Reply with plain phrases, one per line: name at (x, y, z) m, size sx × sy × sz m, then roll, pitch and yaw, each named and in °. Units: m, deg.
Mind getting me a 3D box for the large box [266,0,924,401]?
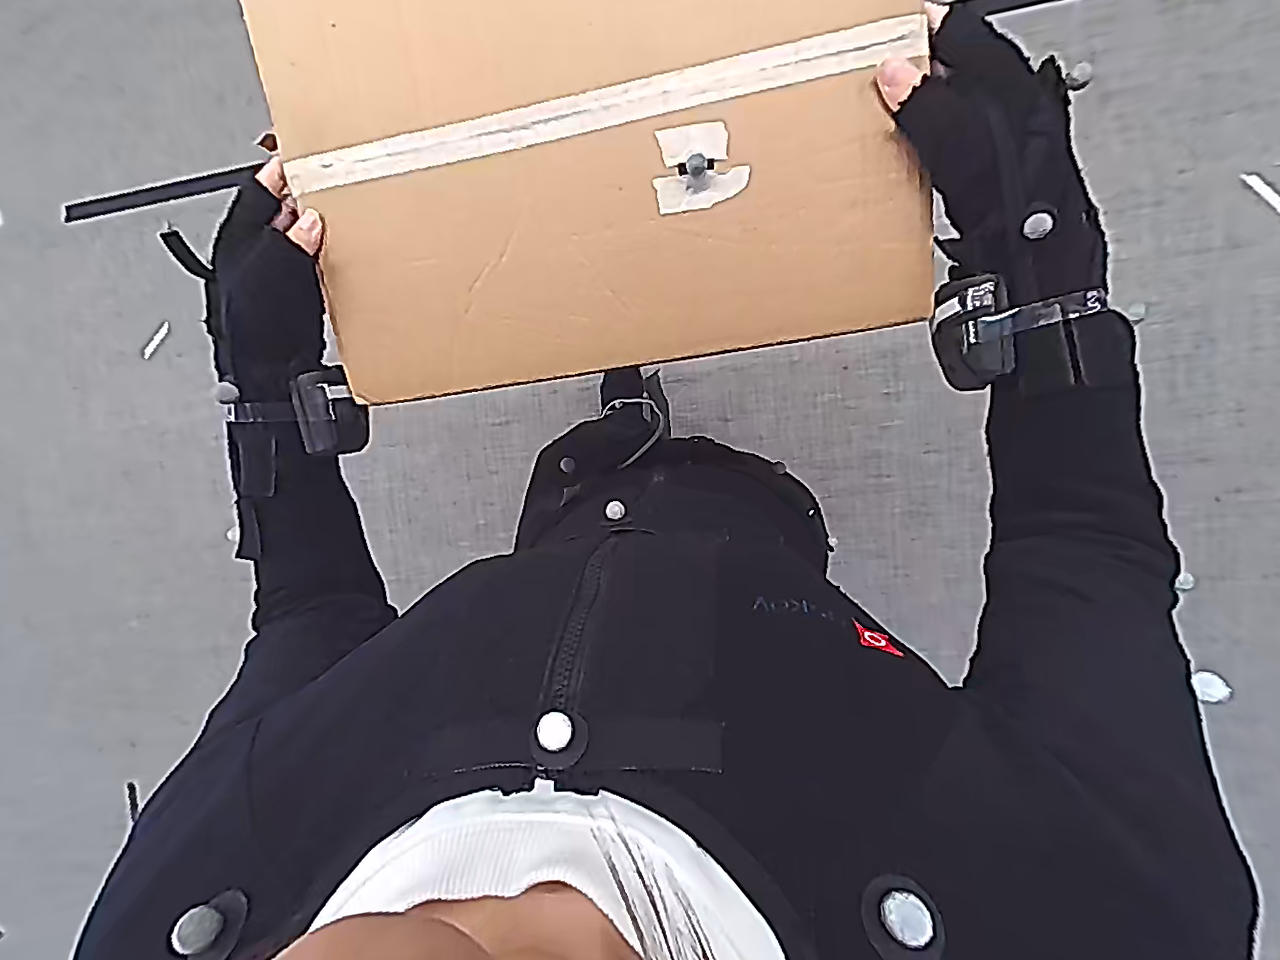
large box at (-0.018, -0.270, 0.495) m, size 0.408 × 0.320 × 0.320 m, roll -8°, pitch 104°, yaw 7°
